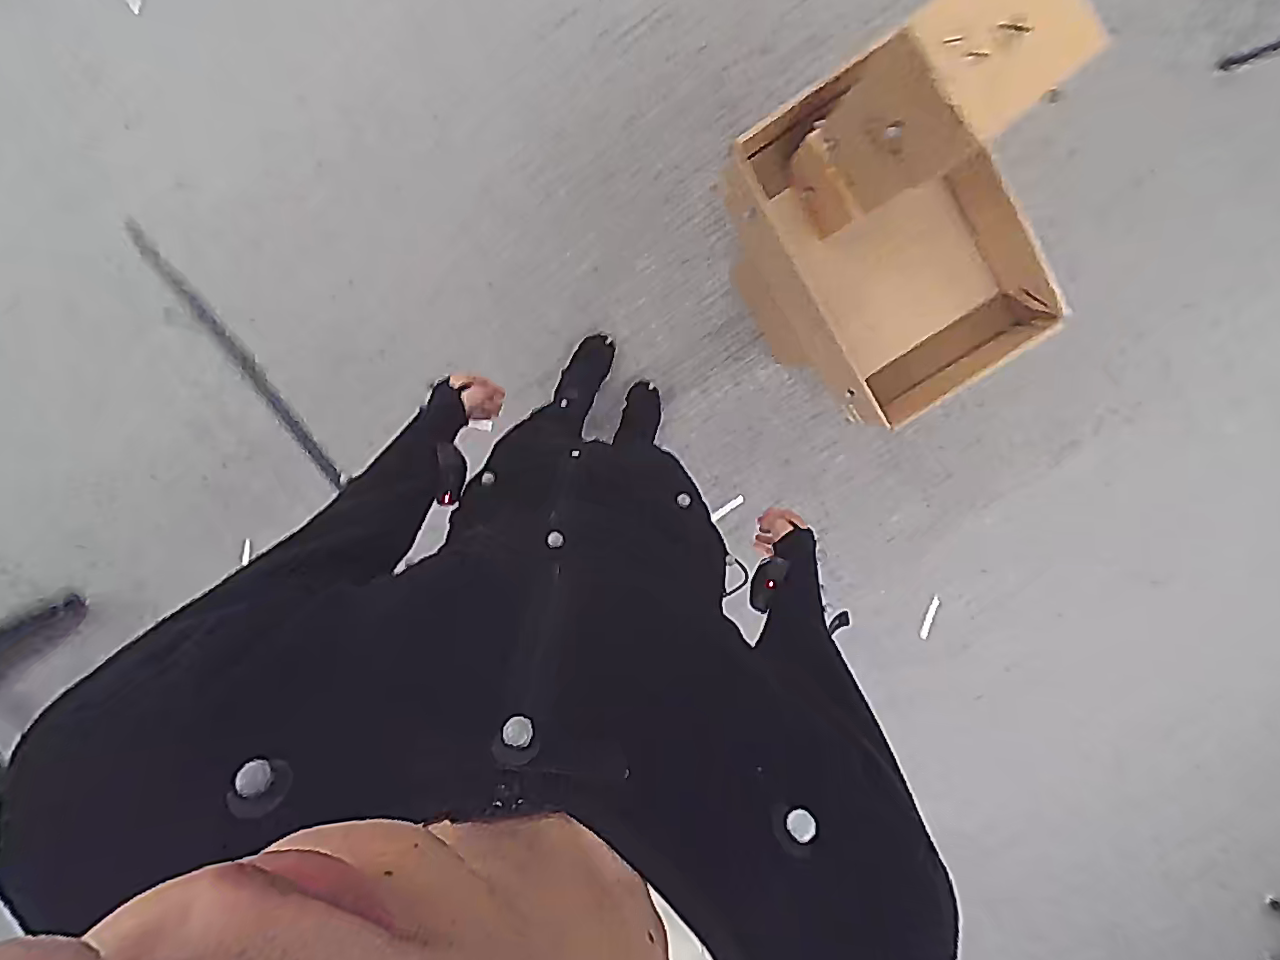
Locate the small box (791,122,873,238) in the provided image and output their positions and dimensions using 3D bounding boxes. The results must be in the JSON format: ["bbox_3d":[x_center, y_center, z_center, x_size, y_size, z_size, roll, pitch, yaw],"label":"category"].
[{"bbox_3d":[0.412,-0.587,1.009,0.179,0.176,0.168,-34,100,7],"label":"small box"}]

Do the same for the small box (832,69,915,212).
[{"bbox_3d":[0.426,-0.557,0.848,0.179,0.176,0.168,-33,101,6],"label":"small box"}]

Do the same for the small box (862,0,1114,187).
[{"bbox_3d":[0.422,-0.518,0.688,0.179,0.176,0.168,-37,100,8],"label":"small box"}]
